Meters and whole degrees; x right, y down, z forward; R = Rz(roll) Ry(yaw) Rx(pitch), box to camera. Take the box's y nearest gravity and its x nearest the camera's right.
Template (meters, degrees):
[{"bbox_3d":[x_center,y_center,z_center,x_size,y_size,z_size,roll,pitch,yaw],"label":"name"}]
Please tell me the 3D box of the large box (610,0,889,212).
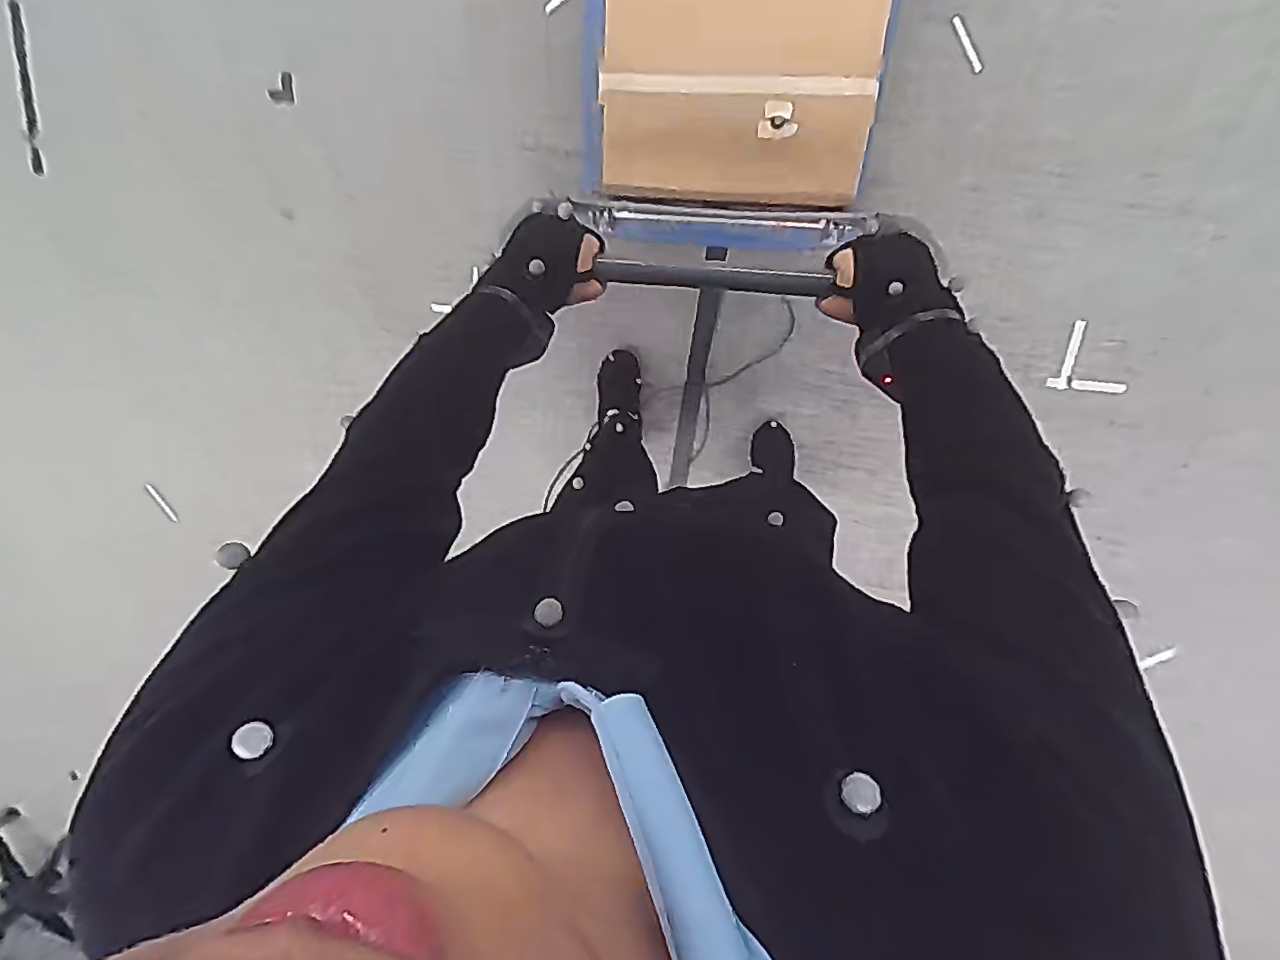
[{"bbox_3d":[0.167,-0.657,0.957,0.408,0.320,0.320,5,115,5],"label":"large box"}]
